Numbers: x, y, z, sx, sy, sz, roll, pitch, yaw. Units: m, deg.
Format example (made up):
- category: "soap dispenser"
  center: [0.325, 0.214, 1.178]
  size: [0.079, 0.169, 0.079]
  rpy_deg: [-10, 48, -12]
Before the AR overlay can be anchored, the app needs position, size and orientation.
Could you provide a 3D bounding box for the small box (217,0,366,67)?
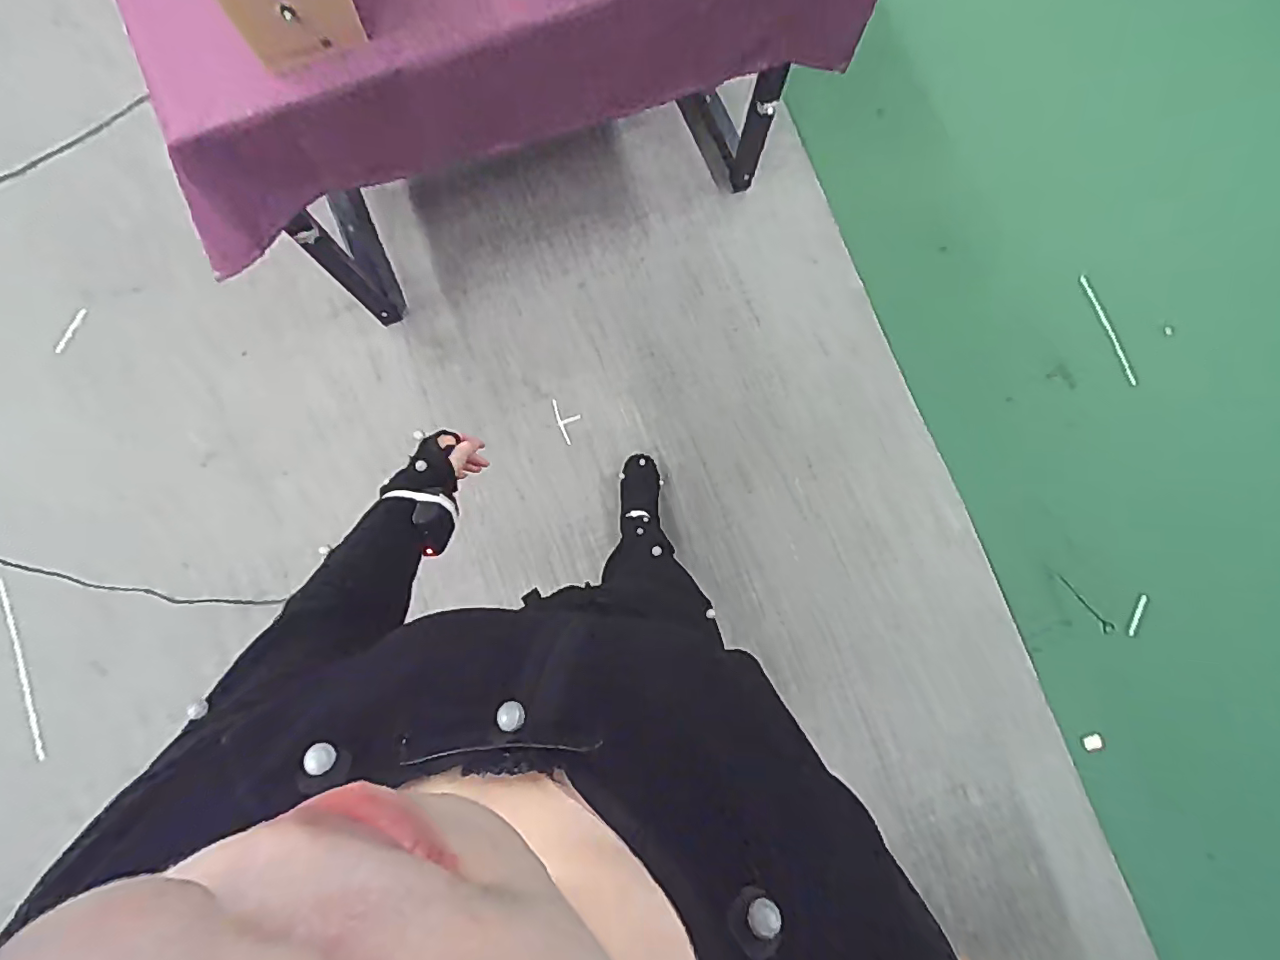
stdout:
- category: "small box"
  center: [-0.538, -0.757, 0.797]
  size: [0.168, 0.176, 0.179]
  rpy_deg: [-22, 83, -6]
